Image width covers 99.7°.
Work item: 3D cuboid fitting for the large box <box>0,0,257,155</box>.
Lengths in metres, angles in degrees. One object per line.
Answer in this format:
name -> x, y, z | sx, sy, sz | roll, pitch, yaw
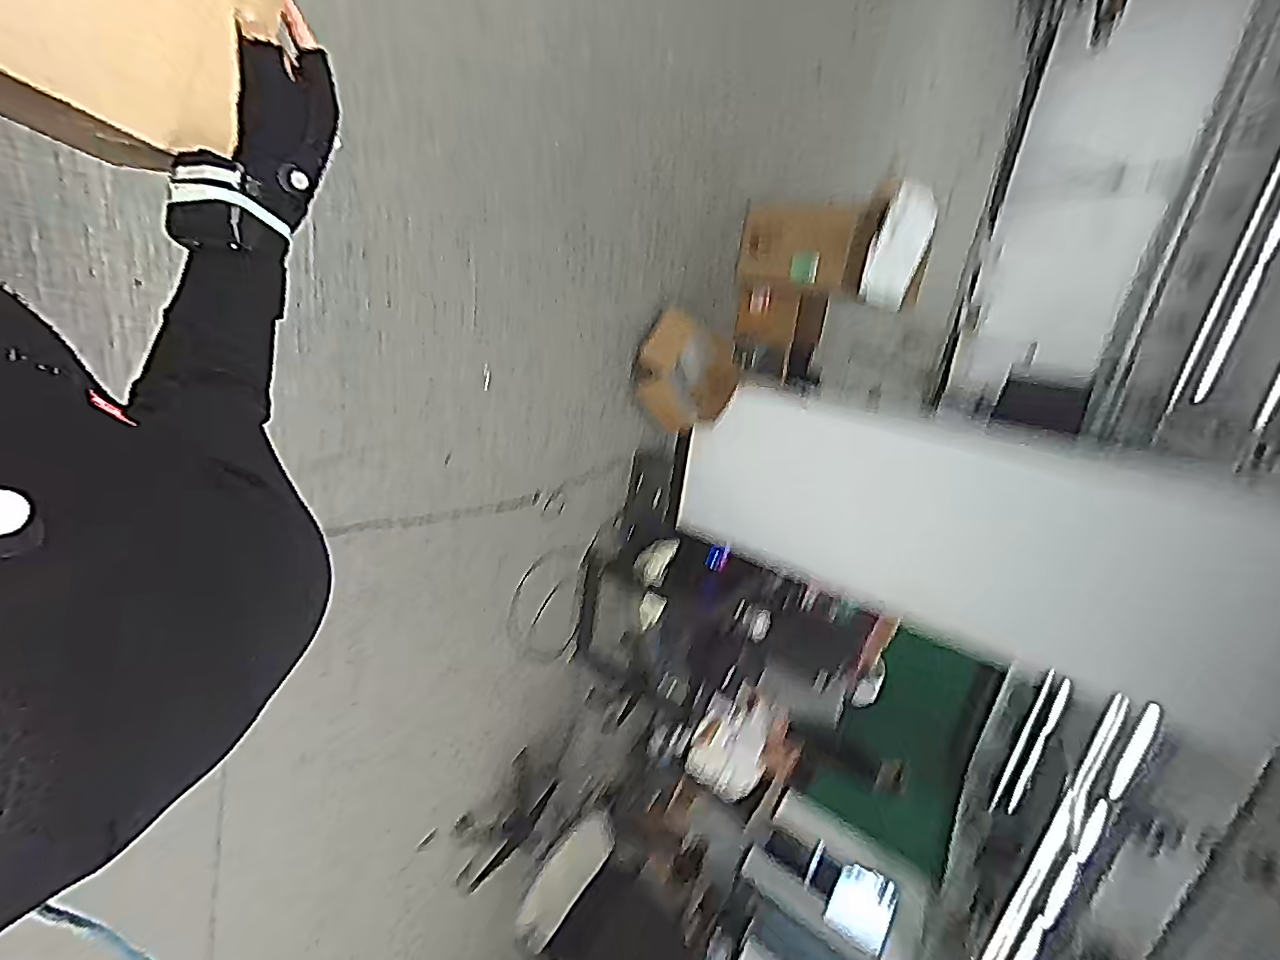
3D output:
large box -> -0.518, -0.469, 0.332 | 0.408, 0.320, 0.320 | 7, 105, -59
